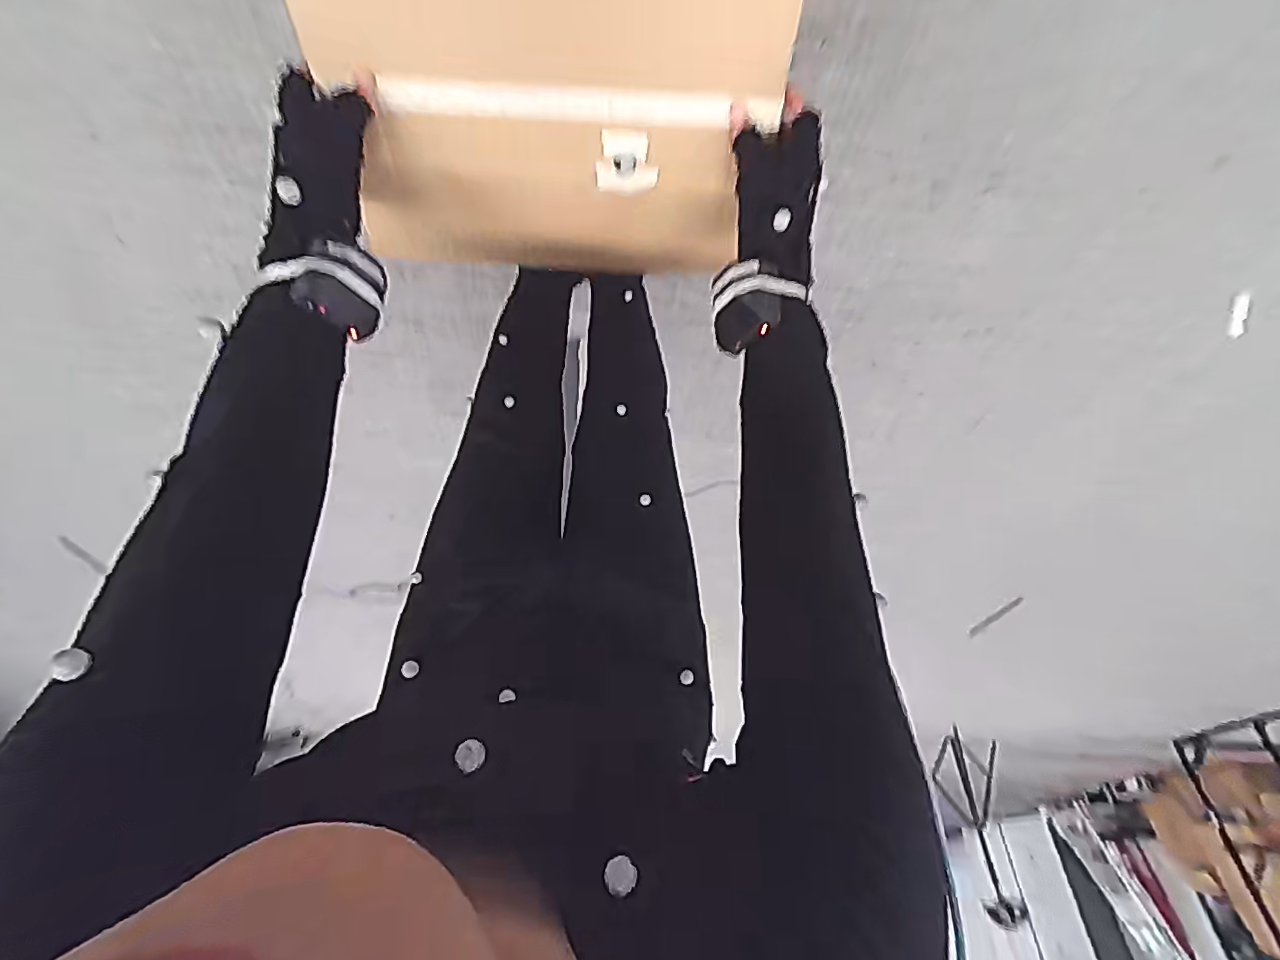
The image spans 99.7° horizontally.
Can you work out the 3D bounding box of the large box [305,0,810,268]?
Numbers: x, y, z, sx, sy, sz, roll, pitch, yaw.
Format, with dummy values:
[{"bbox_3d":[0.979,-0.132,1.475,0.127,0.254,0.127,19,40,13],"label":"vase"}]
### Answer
[{"bbox_3d":[-0.069,-0.446,0.568,0.408,0.320,0.320,1,140,-2],"label":"large box"}]
